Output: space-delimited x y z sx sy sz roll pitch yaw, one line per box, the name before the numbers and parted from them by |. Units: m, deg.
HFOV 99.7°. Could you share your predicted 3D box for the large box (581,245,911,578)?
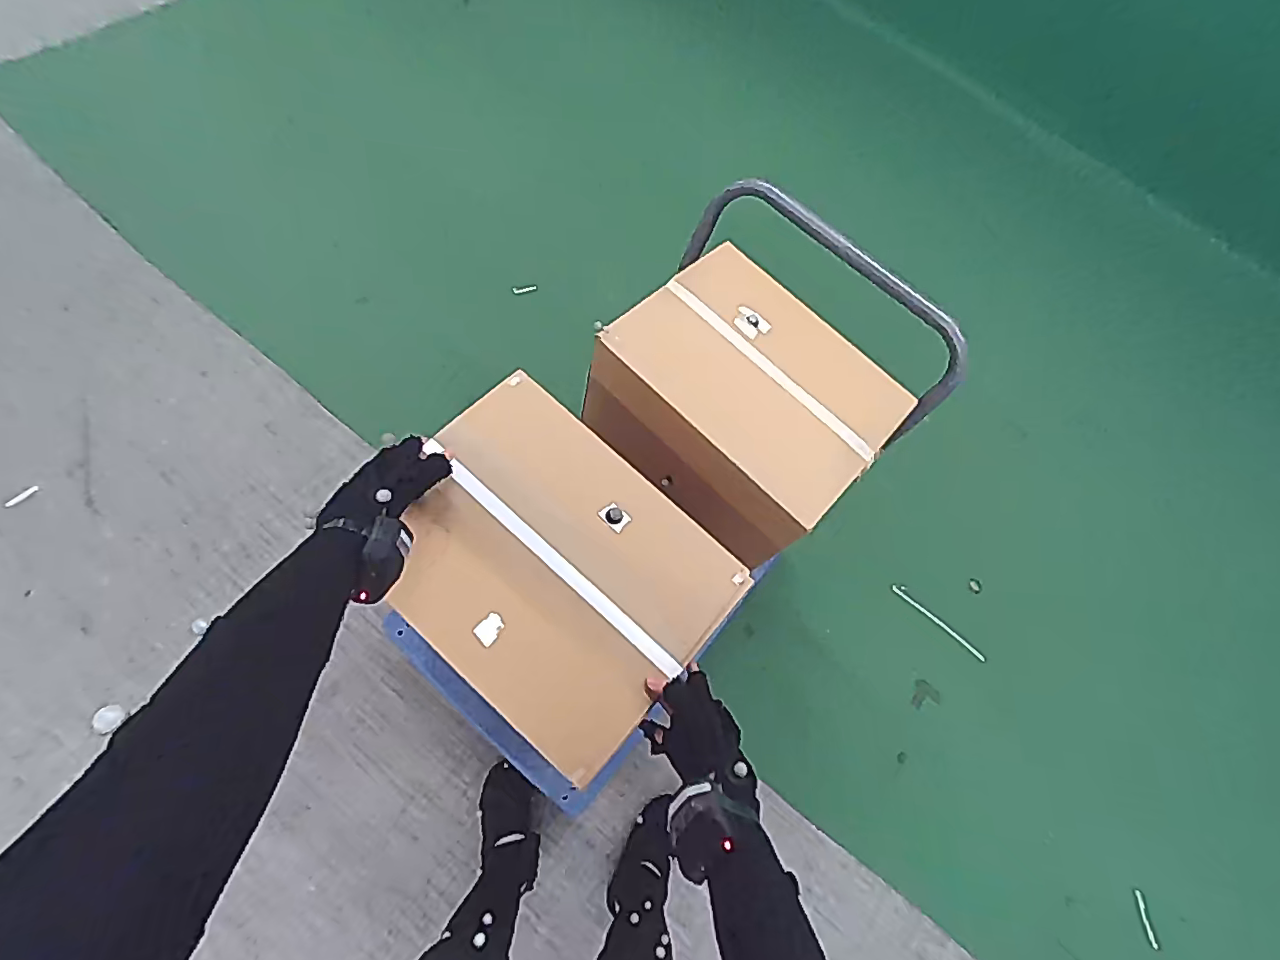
large box | 0.148 -0.102 0.928 0.408 0.320 0.320 43 66 10
